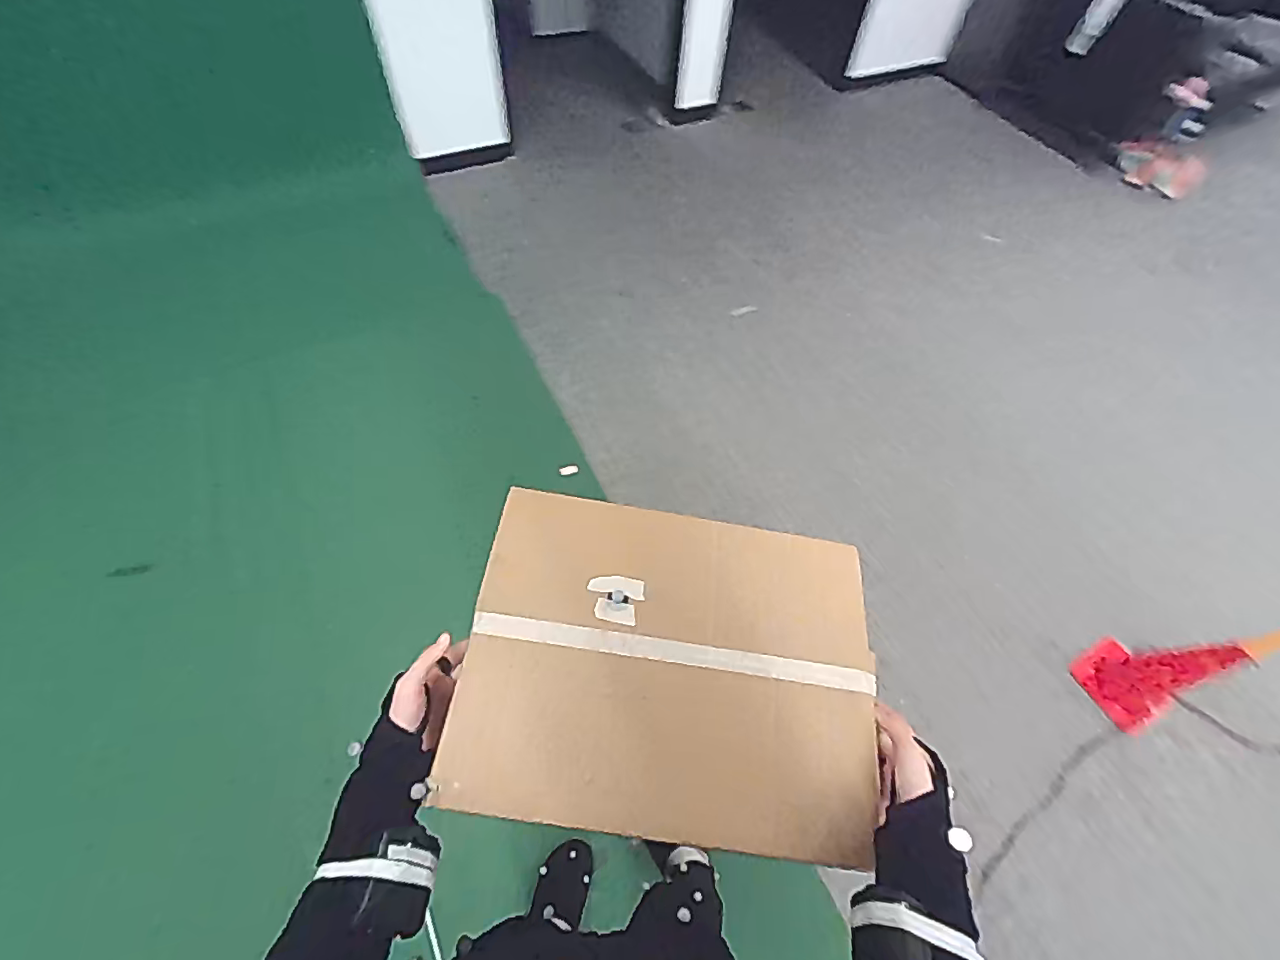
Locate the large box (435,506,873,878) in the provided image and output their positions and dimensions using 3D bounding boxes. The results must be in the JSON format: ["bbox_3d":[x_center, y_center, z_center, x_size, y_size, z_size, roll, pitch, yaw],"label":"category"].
[{"bbox_3d":[0.021,0.264,0.681,0.408,0.320,0.320,10,59,-1],"label":"large box"}]
